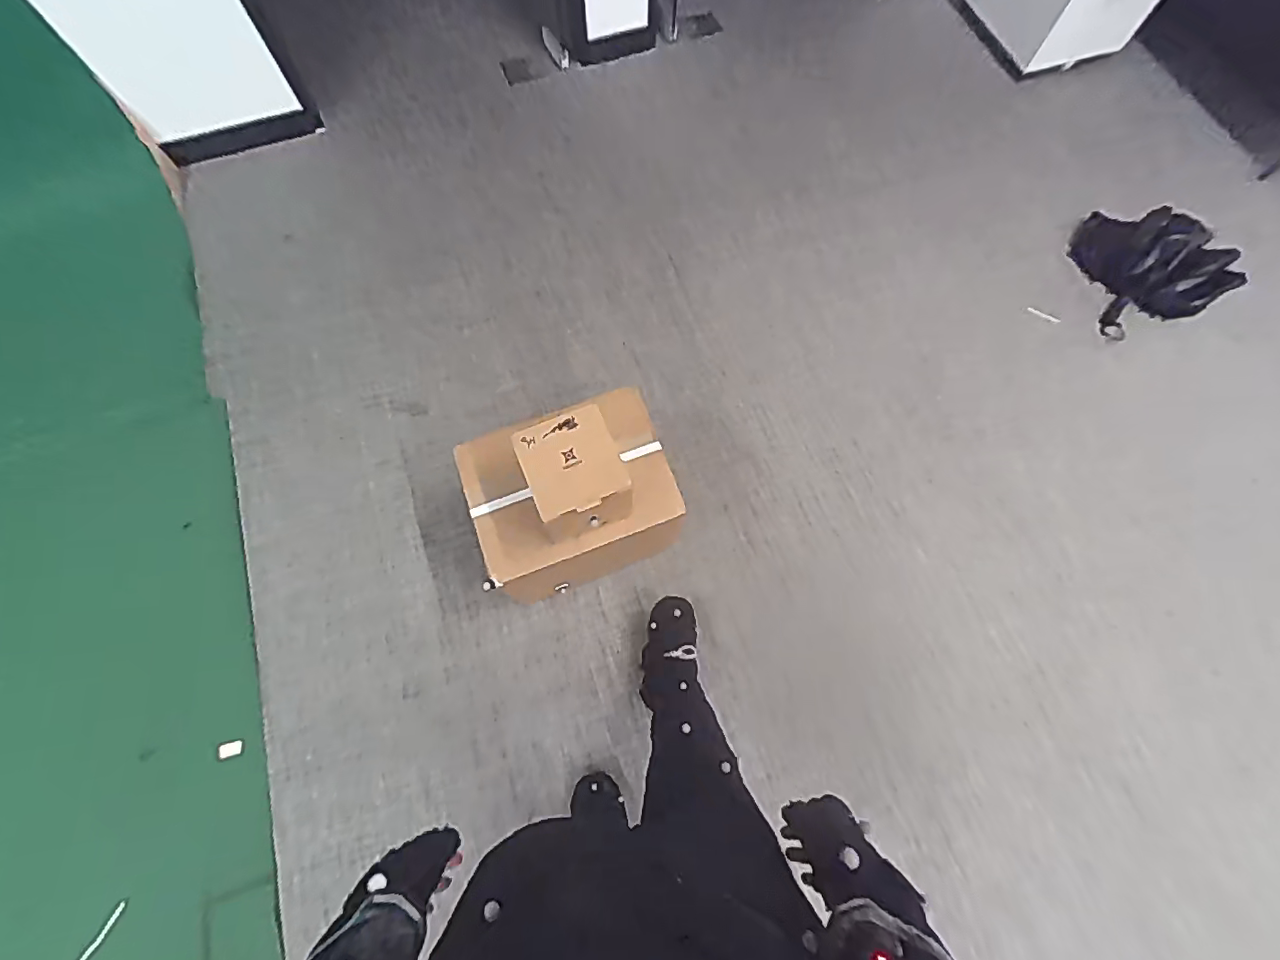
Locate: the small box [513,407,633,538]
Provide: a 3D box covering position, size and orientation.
[{"bbox_3d":[-0.116,-0.003,1.008,0.168,0.176,0.179,-22,73,-7],"label":"small box"}]
